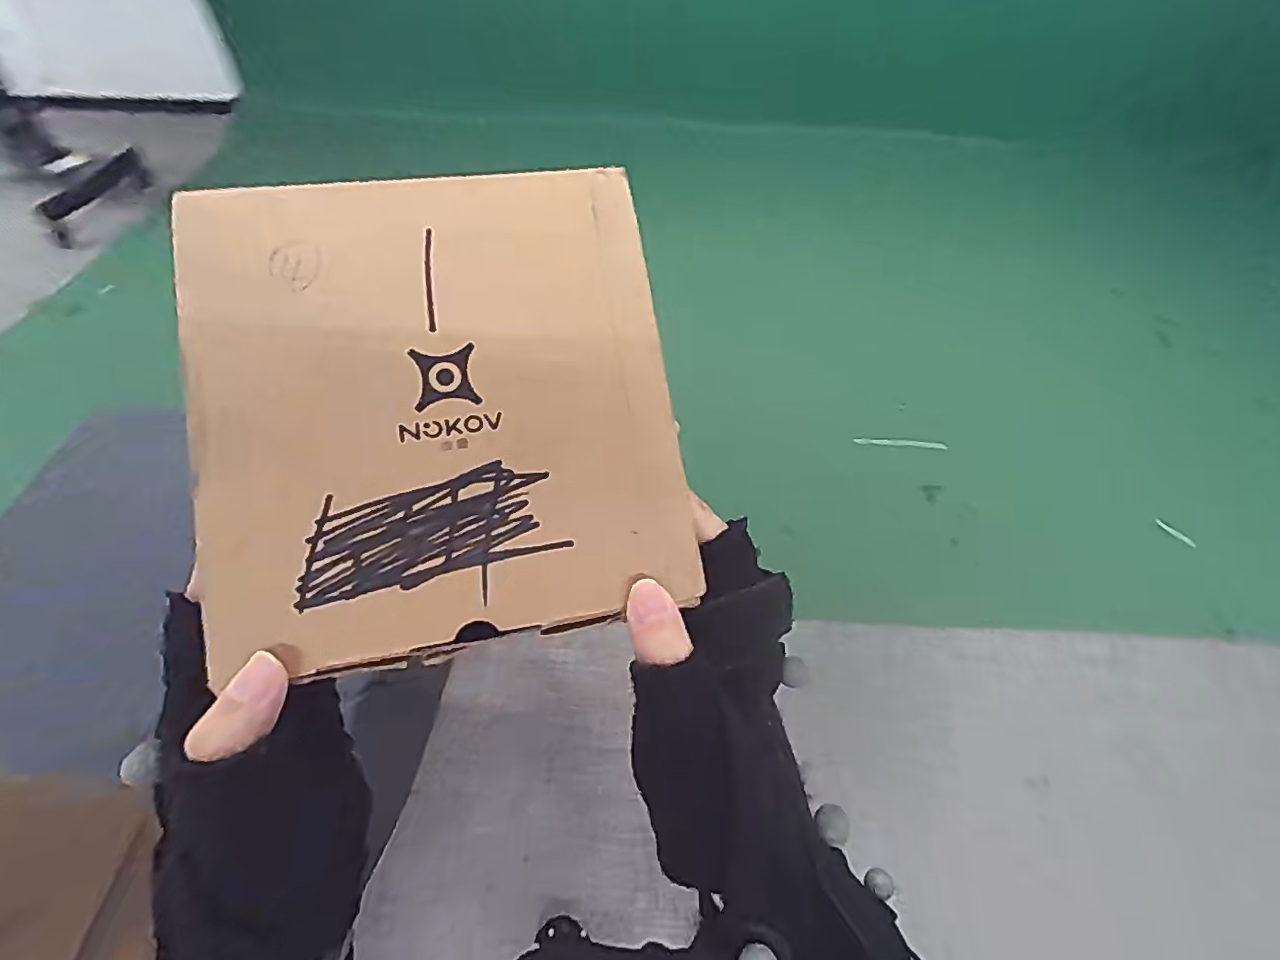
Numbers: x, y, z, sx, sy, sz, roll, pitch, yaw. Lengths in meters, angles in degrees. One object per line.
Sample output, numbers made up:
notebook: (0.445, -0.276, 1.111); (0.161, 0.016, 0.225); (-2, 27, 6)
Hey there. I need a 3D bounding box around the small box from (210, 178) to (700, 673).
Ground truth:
small box: (-0.078, -0.018, 0.281); (0.168, 0.176, 0.179); (-8, 82, -9)
